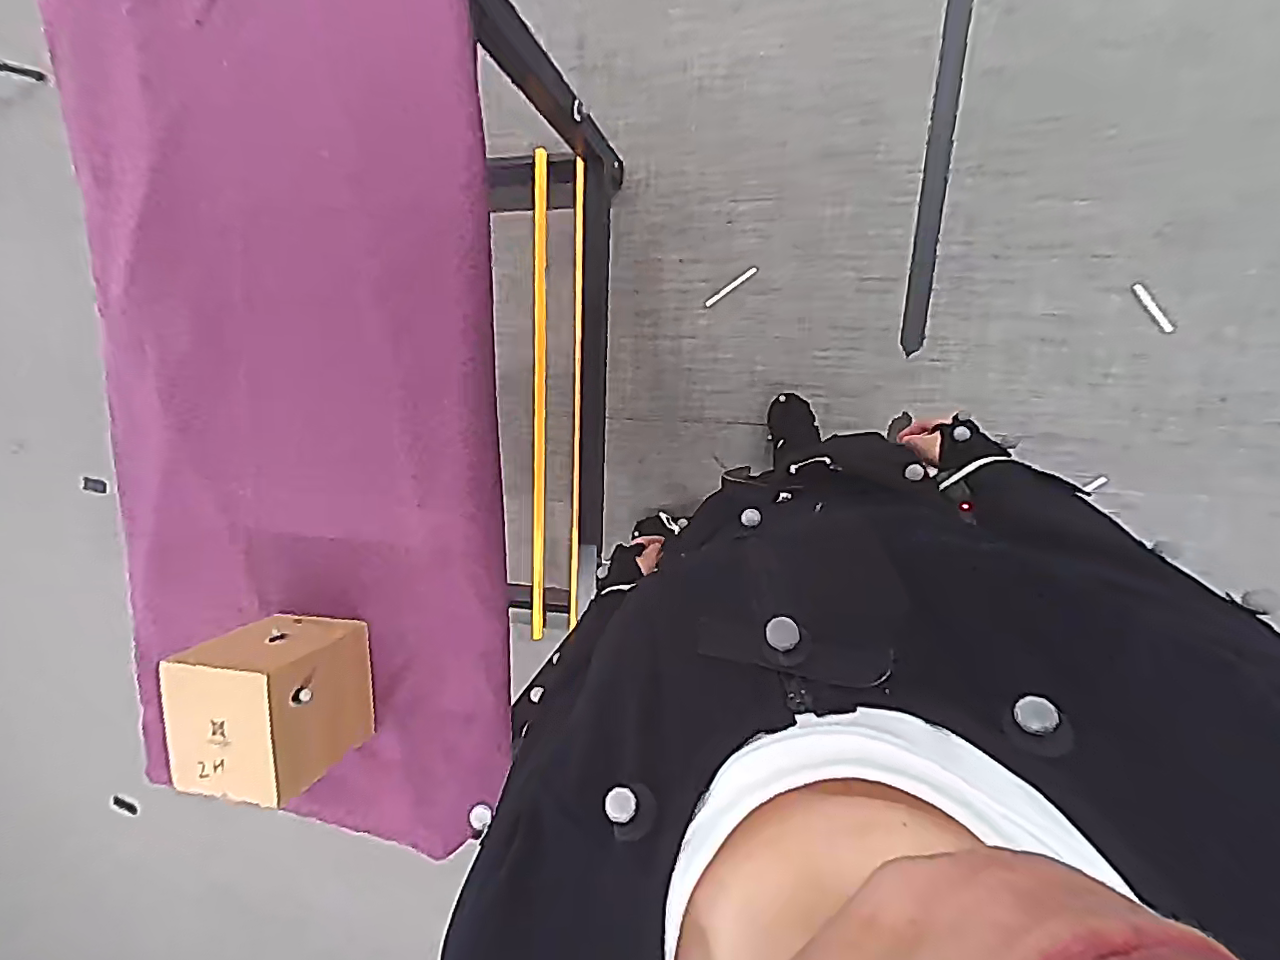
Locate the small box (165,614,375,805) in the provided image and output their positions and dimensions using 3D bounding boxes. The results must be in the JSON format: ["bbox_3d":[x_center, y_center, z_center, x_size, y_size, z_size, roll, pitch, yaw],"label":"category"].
[{"bbox_3d":[-0.491,0.297,0.740,0.168,0.176,0.179,2,97,14],"label":"small box"}]
